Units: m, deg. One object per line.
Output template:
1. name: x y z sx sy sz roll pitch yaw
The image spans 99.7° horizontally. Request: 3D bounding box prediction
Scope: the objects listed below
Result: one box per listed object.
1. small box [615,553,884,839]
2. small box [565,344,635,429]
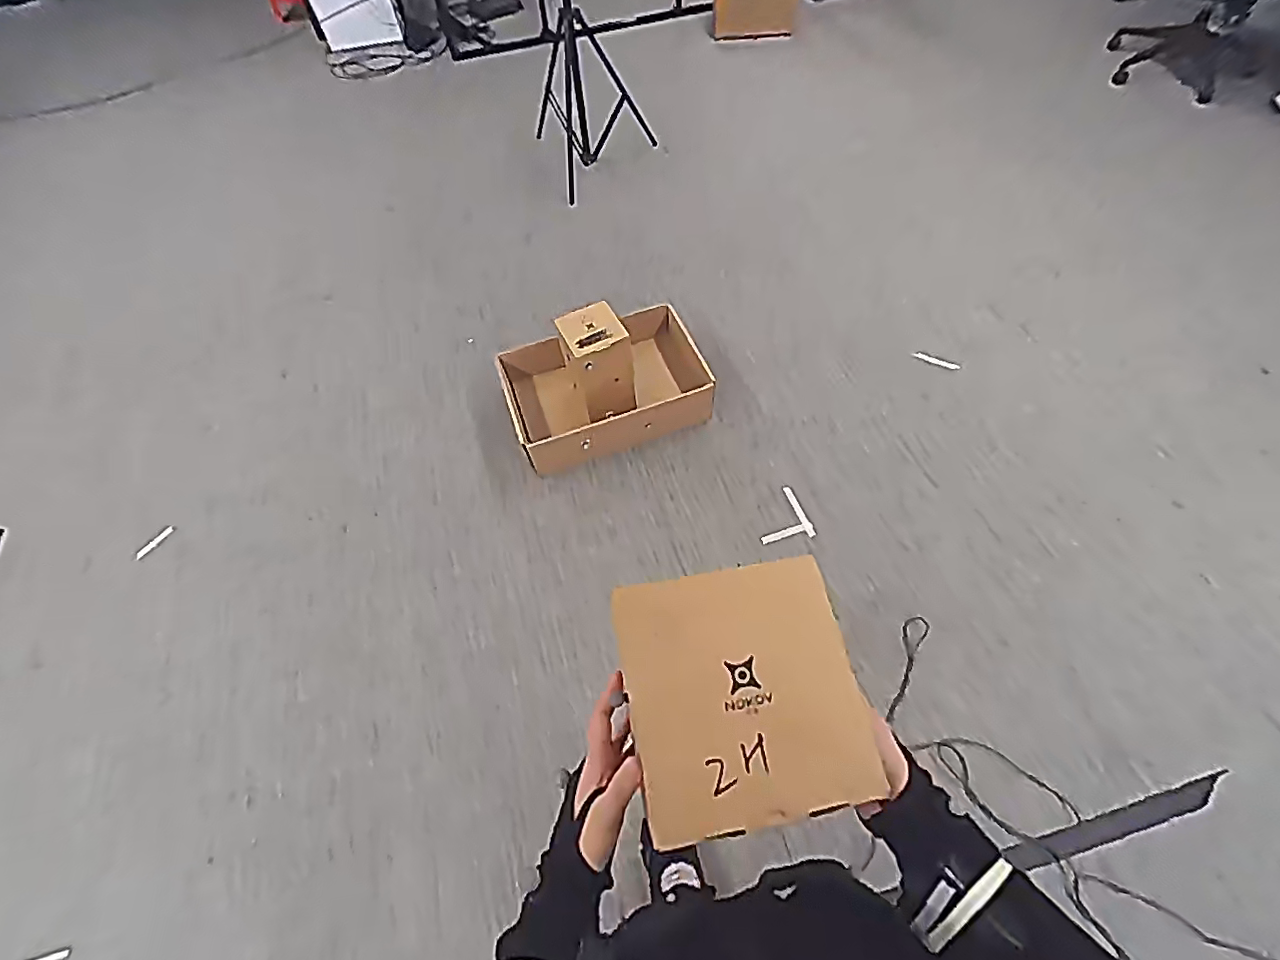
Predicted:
1. small box: 0.070 0.181 0.469 0.168 0.176 0.179 -9 67 -6
2. small box: -0.125 -0.298 1.739 0.168 0.176 0.179 -24 62 -10
